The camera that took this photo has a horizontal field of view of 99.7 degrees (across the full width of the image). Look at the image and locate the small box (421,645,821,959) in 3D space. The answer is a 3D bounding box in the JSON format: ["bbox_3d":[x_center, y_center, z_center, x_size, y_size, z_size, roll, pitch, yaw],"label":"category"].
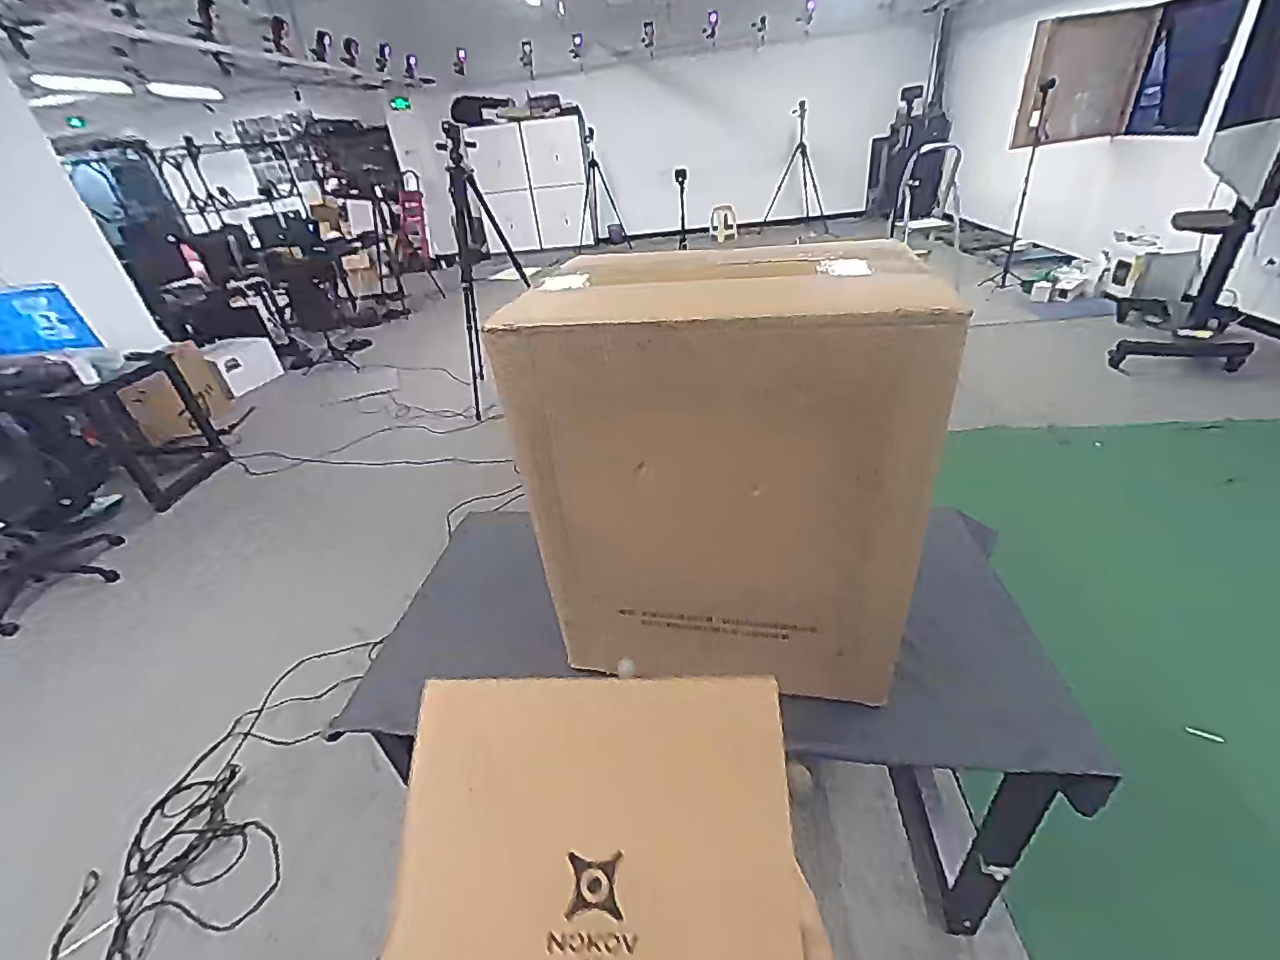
[{"bbox_3d":[-0.004,0.194,0.306,0.168,0.176,0.179,-2,67,4],"label":"small box"}]
